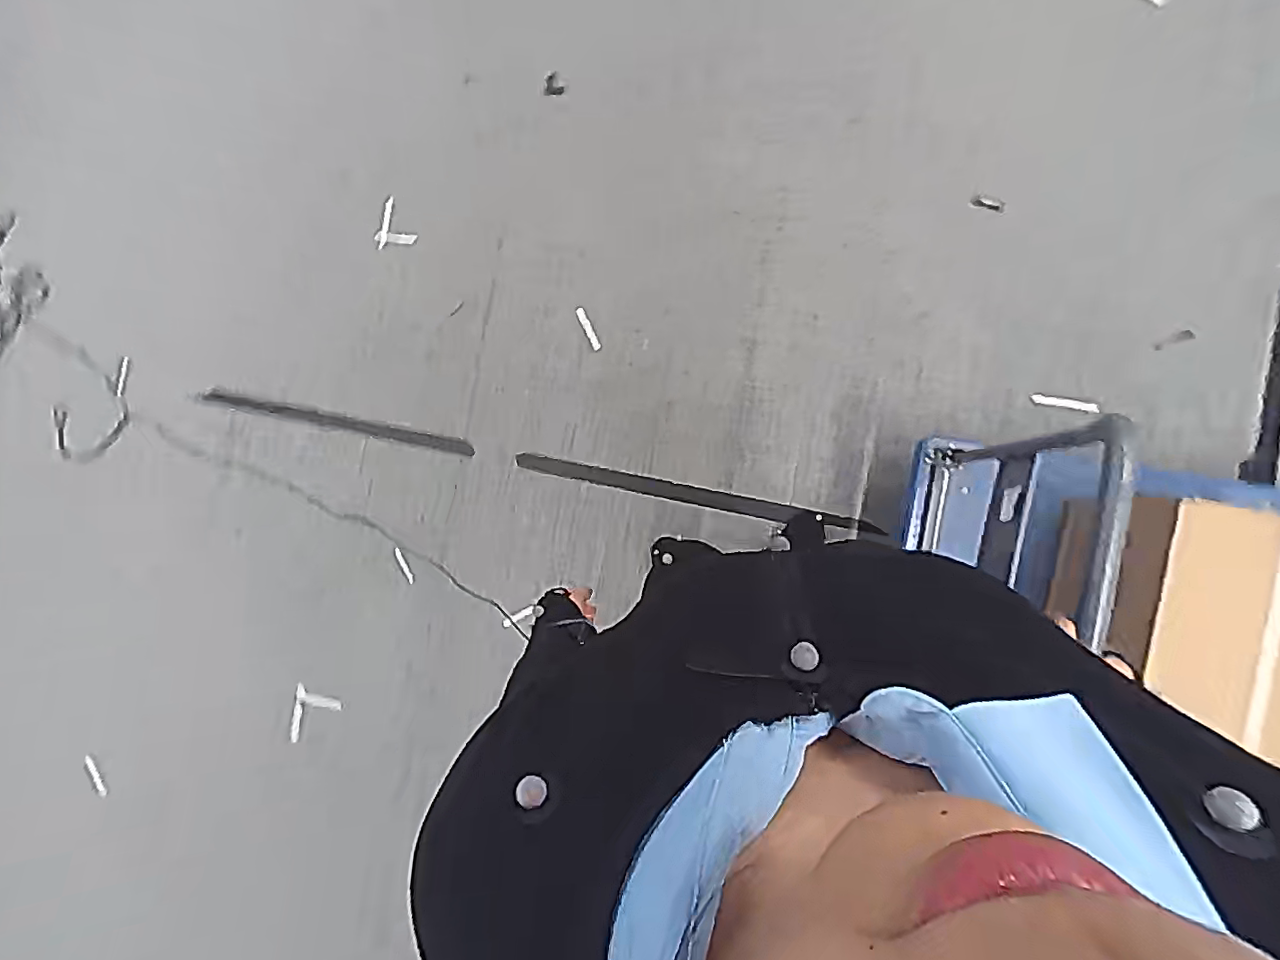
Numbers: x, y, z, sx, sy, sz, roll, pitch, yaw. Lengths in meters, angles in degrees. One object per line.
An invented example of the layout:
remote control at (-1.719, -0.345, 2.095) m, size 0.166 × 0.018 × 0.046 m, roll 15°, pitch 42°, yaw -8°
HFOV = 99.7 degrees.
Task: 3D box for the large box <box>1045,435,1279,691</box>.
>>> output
large box at (1.008, 0.139, 1.004) m, size 0.320 × 0.320 × 0.408 m, roll 4°, pitch 88°, yaw 9°
